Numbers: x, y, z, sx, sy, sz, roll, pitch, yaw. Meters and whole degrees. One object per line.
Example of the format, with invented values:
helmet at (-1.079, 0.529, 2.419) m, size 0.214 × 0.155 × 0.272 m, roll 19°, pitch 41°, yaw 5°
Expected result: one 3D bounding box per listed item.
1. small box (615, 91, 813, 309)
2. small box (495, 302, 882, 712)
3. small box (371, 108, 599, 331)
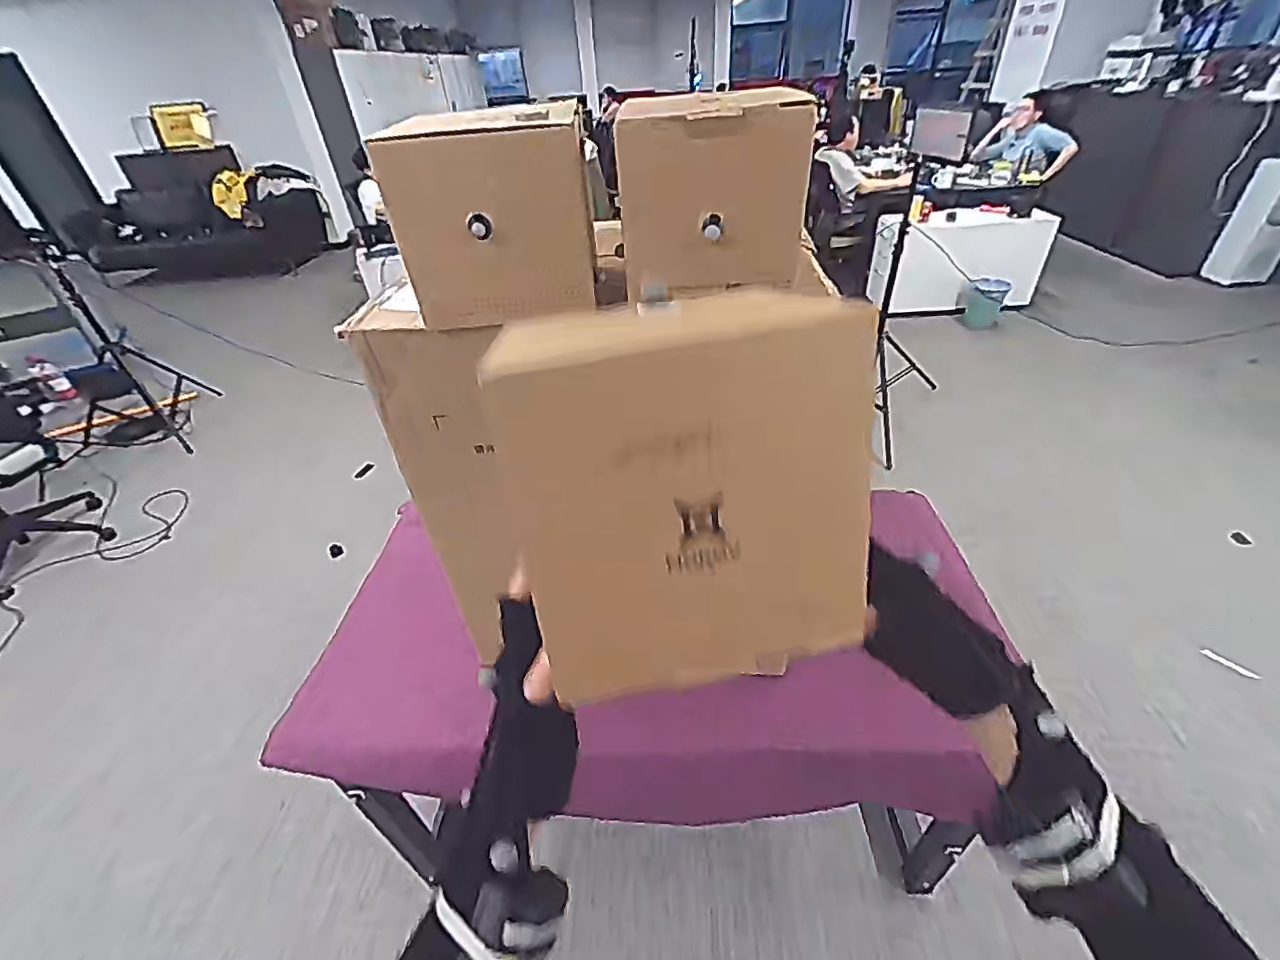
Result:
small box at (0.070, -0.283, 0.555) m, size 0.168 × 0.176 × 0.179 m, roll -1°, pitch 39°, yaw 4°
small box at (0.021, -0.002, 0.326) m, size 0.168 × 0.179 × 0.176 m, roll -12°, pitch 22°, yaw -5°
small box at (-0.135, -0.268, 0.557) m, size 0.179 × 0.176 × 0.168 m, roll -5°, pitch 39°, yaw 0°
